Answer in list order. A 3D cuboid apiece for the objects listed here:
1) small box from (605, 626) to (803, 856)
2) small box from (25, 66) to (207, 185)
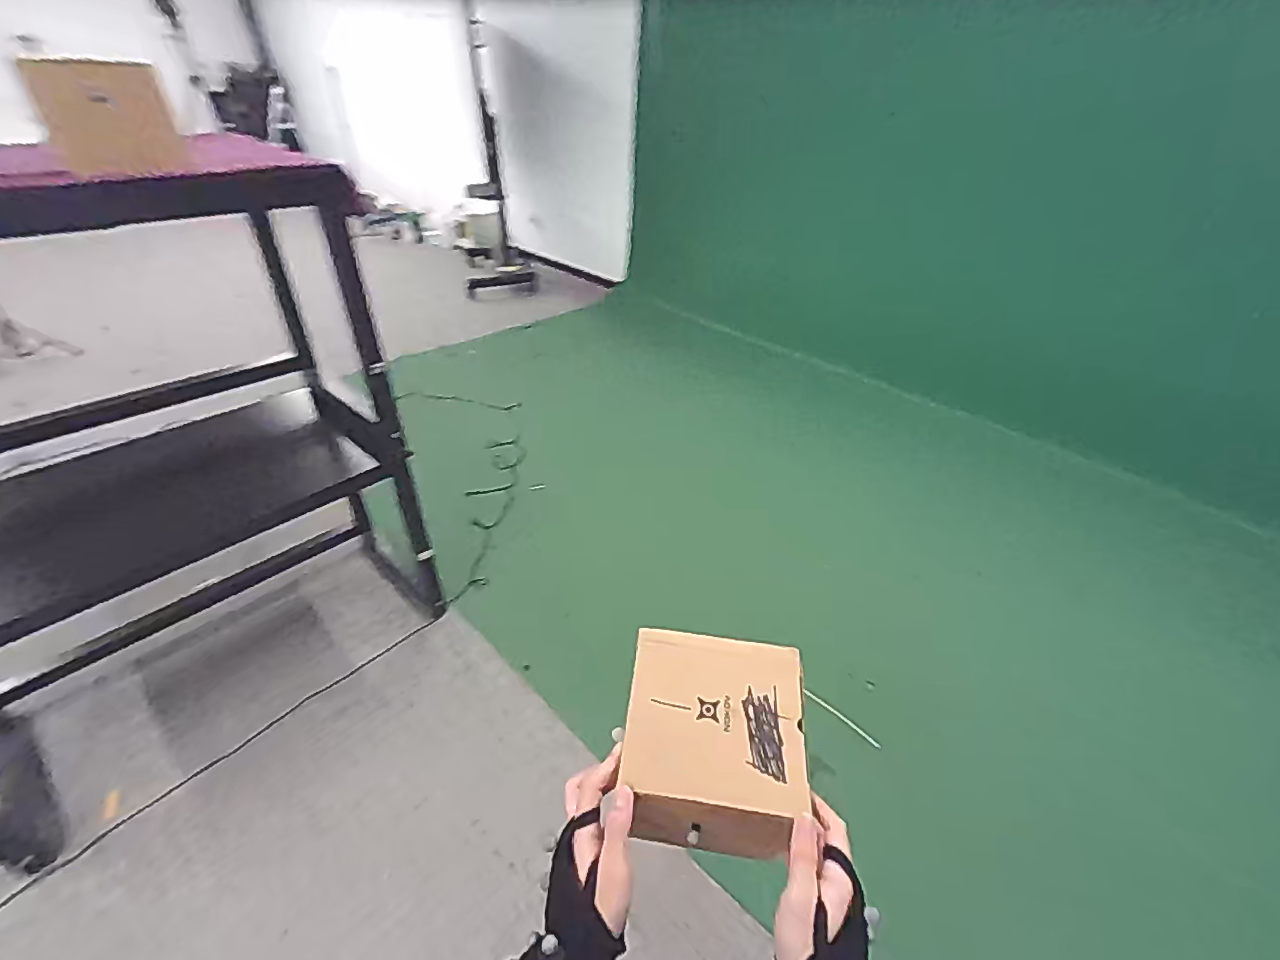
[{"bbox_3d":[0.062,0.282,0.580,0.179,0.176,0.168,6,44,4],"label":"small box"},{"bbox_3d":[-0.948,-0.648,0.989,0.168,0.176,0.179,32,45,31],"label":"small box"}]
